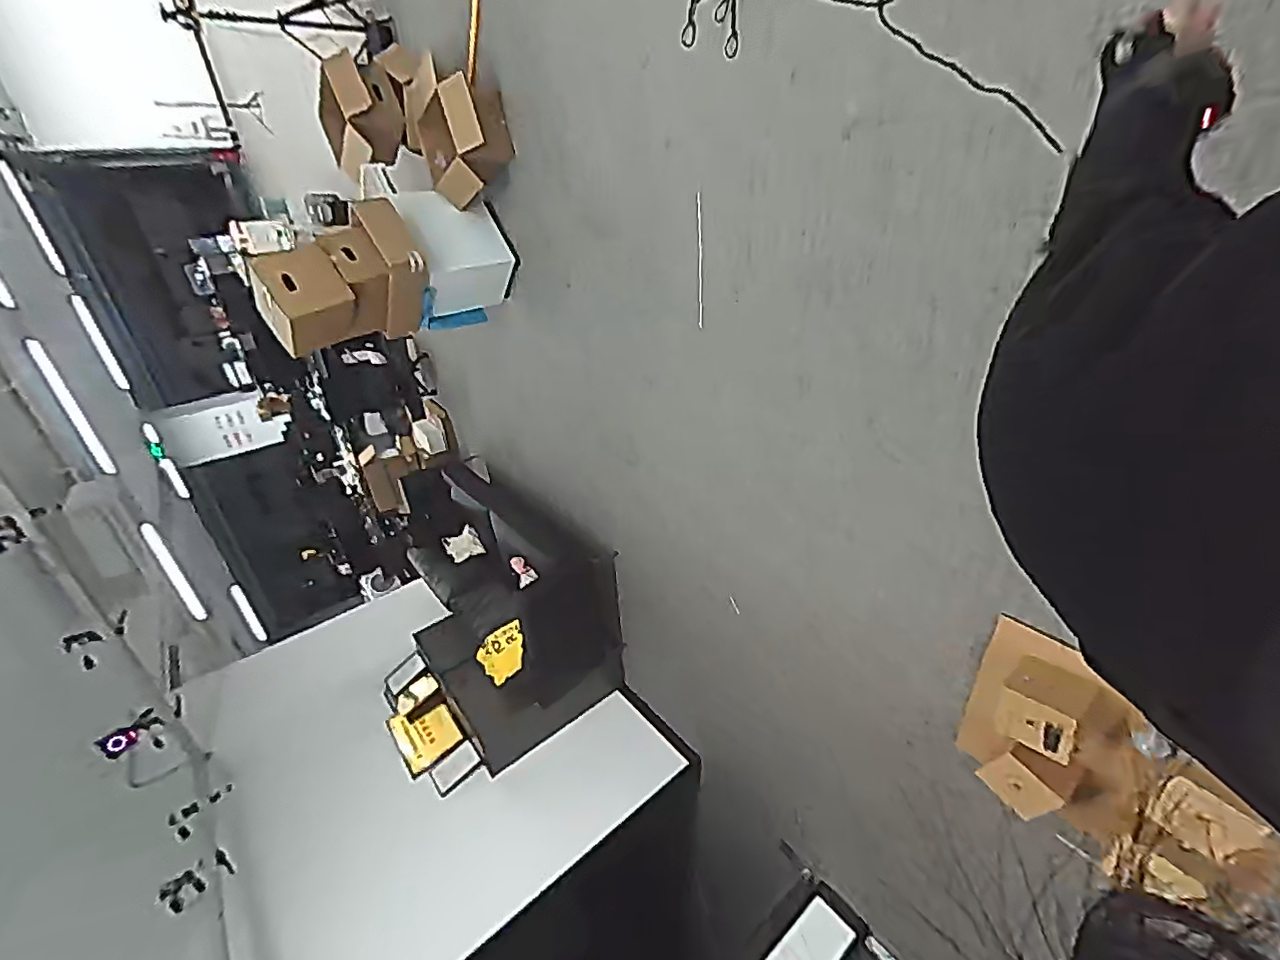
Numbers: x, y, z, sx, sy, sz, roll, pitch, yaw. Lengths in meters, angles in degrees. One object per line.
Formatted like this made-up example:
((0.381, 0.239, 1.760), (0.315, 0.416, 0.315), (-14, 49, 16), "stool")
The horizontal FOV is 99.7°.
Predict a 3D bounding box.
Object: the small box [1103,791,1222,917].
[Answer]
((1.343, 0.948, 1.386), (0.168, 0.176, 0.179), (31, 135, 44), "small box")

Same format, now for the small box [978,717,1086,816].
((1.153, 0.839, 1.588), (0.168, 0.176, 0.179), (45, 143, 30), "small box")

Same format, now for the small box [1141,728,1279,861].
((1.326, 0.719, 1.253), (0.168, 0.176, 0.179), (35, 138, 41), "small box")
